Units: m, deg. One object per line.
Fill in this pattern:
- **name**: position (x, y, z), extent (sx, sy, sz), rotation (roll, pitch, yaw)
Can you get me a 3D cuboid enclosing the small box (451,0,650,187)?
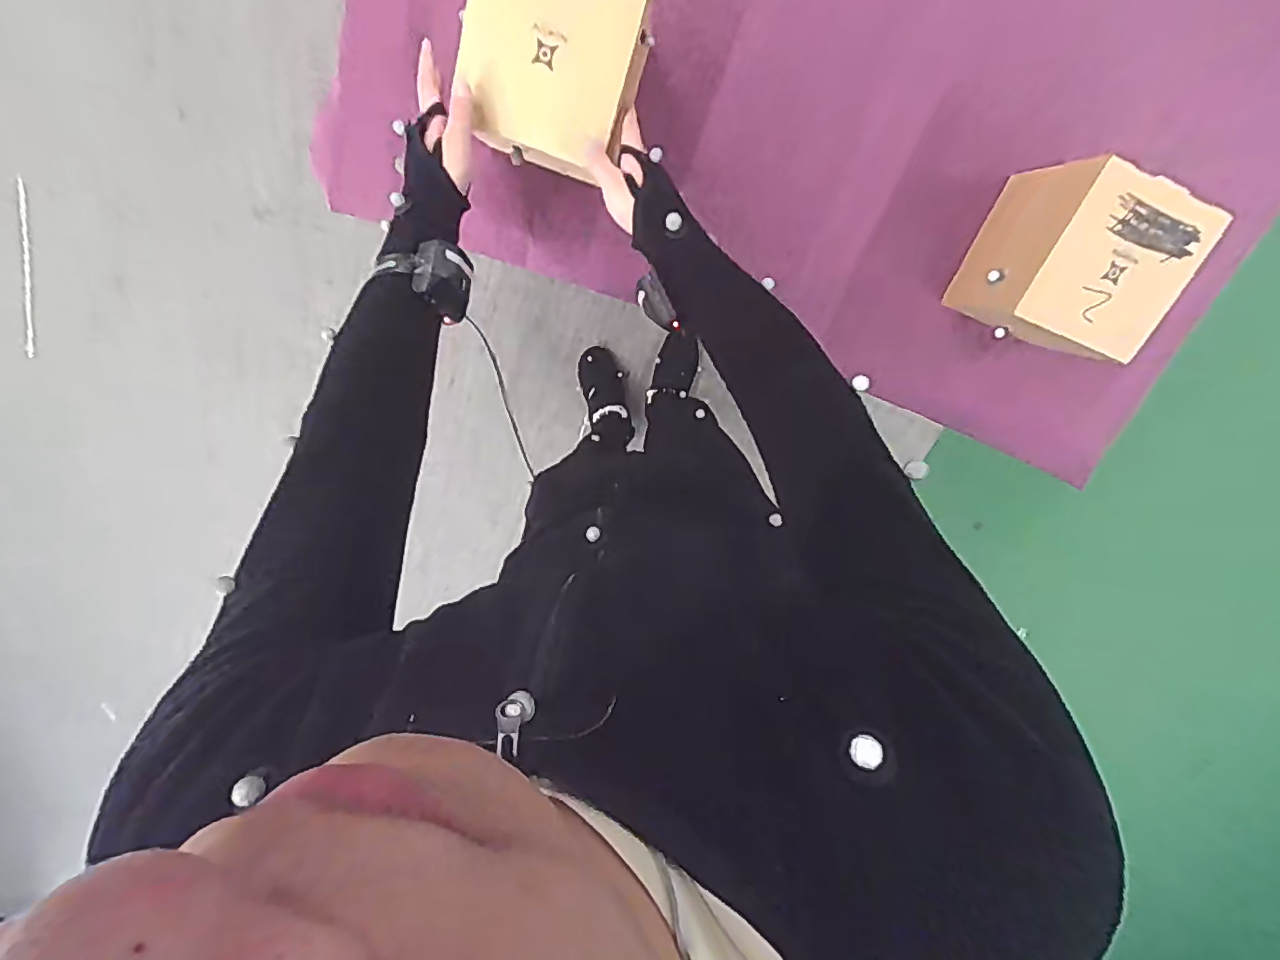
- **small box**: position (-0.090, -0.452, 0.604), extent (0.168, 0.176, 0.179), rotation (17, 110, -7)
